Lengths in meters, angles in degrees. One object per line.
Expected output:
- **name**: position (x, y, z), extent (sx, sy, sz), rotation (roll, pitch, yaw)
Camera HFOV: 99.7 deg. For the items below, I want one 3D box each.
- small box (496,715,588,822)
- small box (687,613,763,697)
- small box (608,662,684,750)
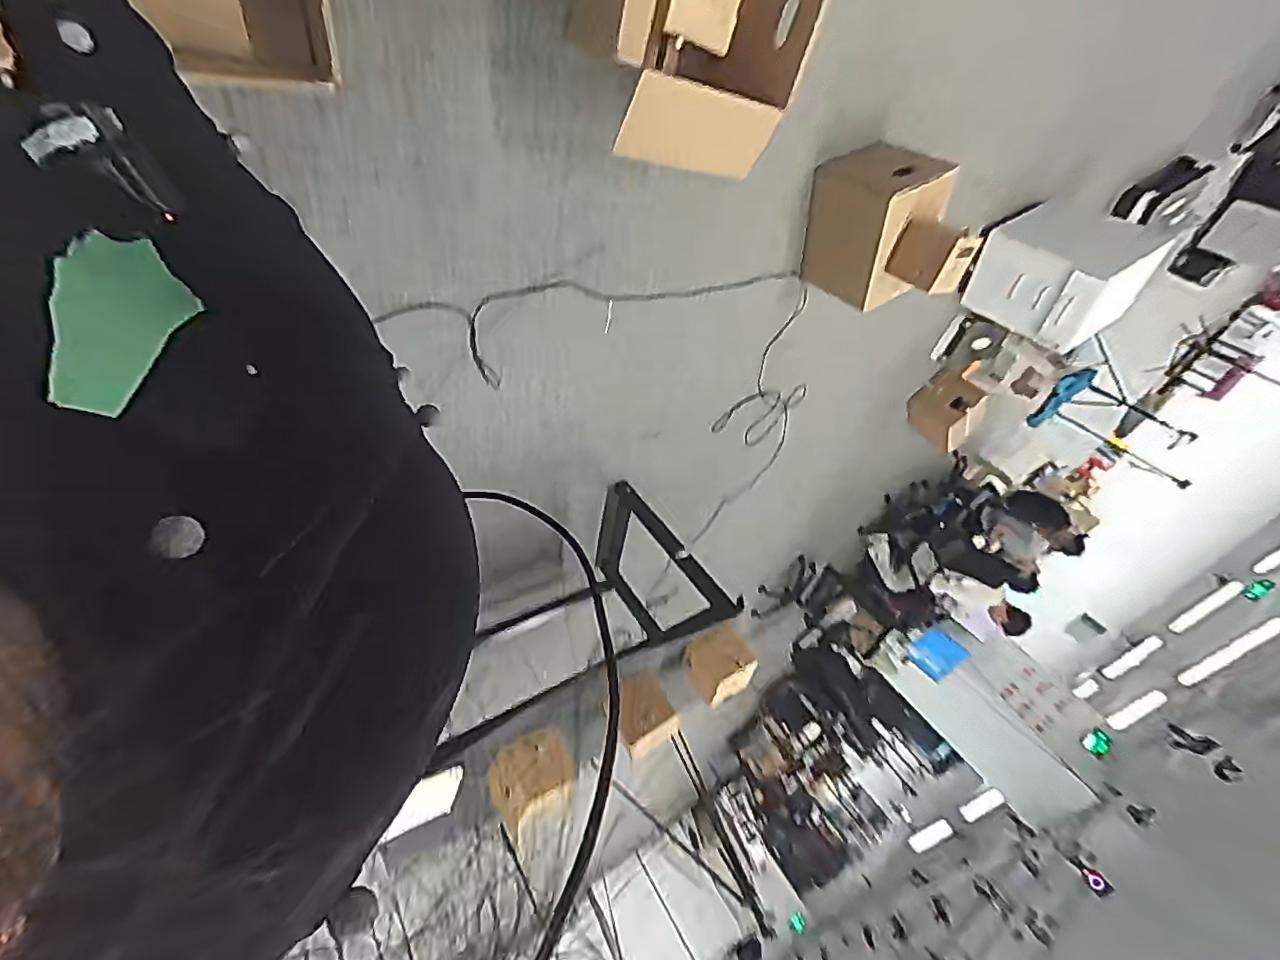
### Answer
- **small box**: position (-0.276, 0.785, 1.485), extent (0.168, 0.176, 0.179), rotation (-5, 132, -43)
- **small box**: position (0.275, 0.579, 1.804), extent (0.168, 0.176, 0.179), rotation (-21, 141, -27)
- **small box**: position (0.021, 0.703, 1.694), extent (0.179, 0.176, 0.168), rotation (-28, 143, -18)
